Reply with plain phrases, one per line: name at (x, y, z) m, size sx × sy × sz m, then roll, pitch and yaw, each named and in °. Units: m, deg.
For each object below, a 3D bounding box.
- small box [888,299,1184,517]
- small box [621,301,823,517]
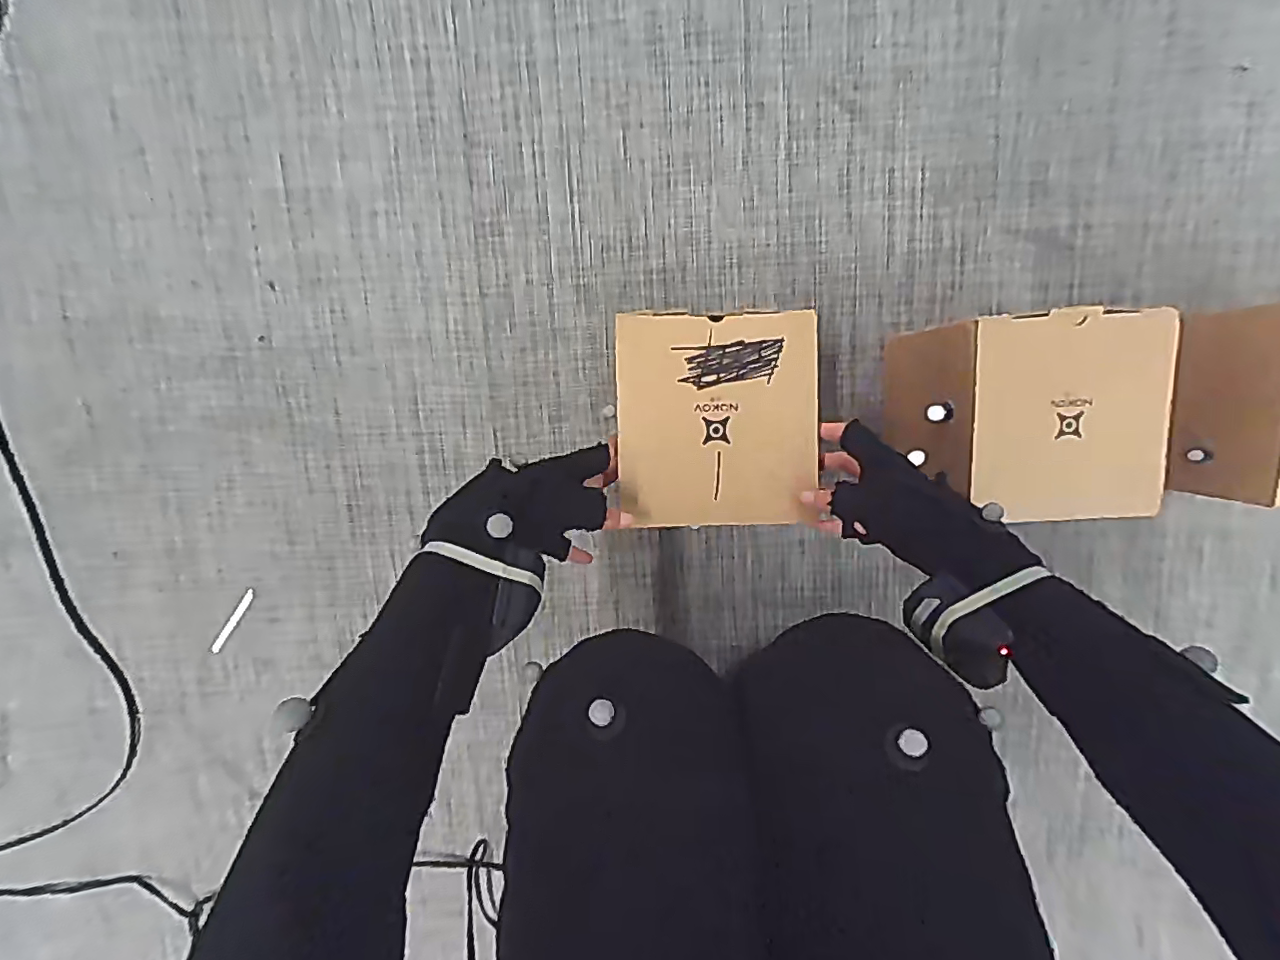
small box at (0.359, -0.069, 0.527) m, size 0.168 × 0.176 × 0.179 m, roll -3°, pitch 98°, yaw 1°
small box at (0.065, -0.060, 0.516) m, size 0.168 × 0.176 × 0.179 m, roll -1°, pitch 93°, yaw 0°
